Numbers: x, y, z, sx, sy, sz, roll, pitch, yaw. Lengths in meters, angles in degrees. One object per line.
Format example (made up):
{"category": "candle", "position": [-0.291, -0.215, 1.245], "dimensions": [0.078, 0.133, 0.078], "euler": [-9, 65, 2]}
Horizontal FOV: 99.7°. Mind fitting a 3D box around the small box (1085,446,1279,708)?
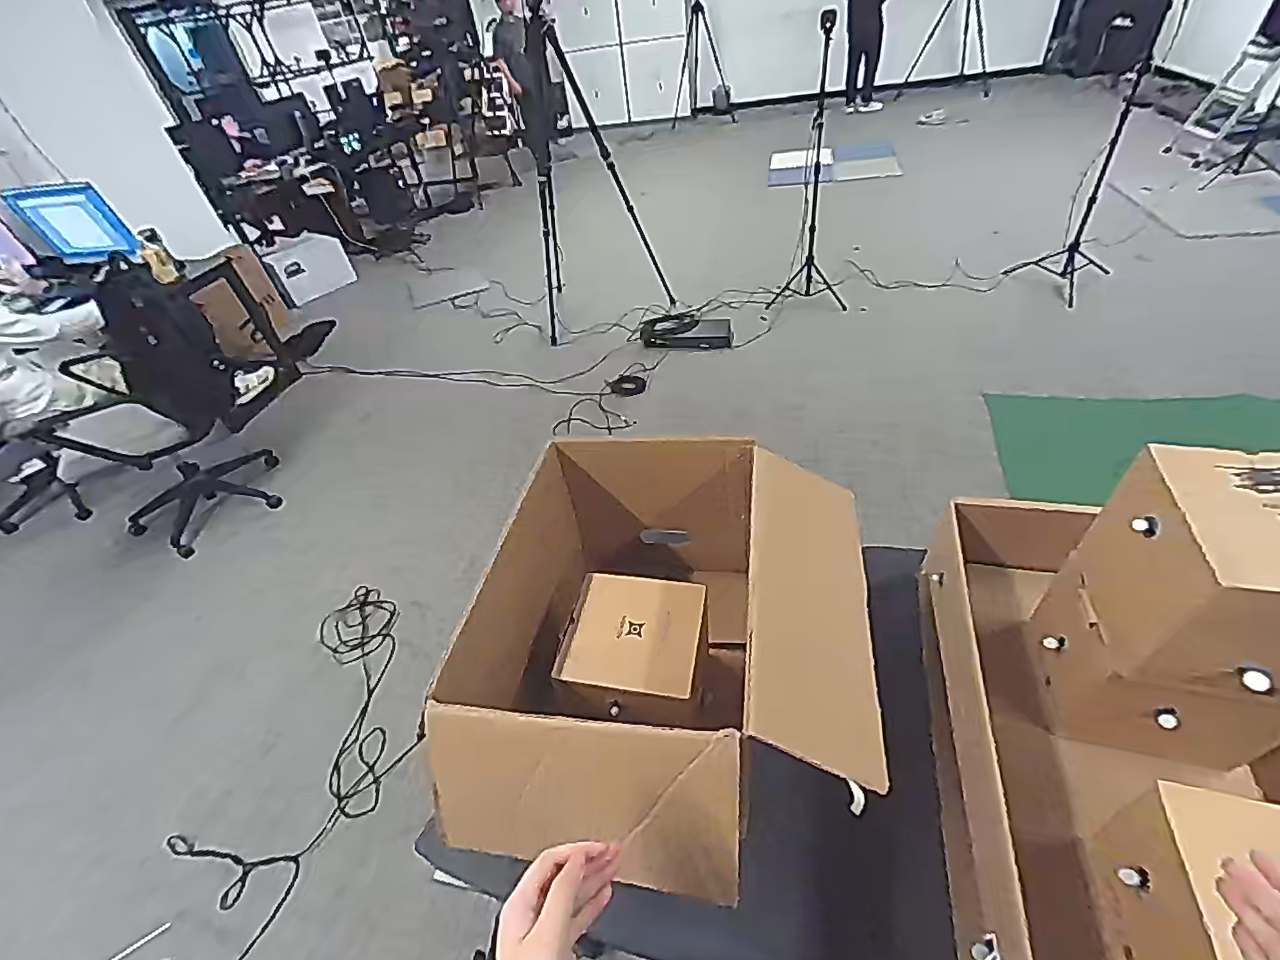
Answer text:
{"category": "small box", "position": [0.573, 0.091, 0.520], "dimensions": [0.168, 0.176, 0.179], "euler": [5, 46, 17]}
